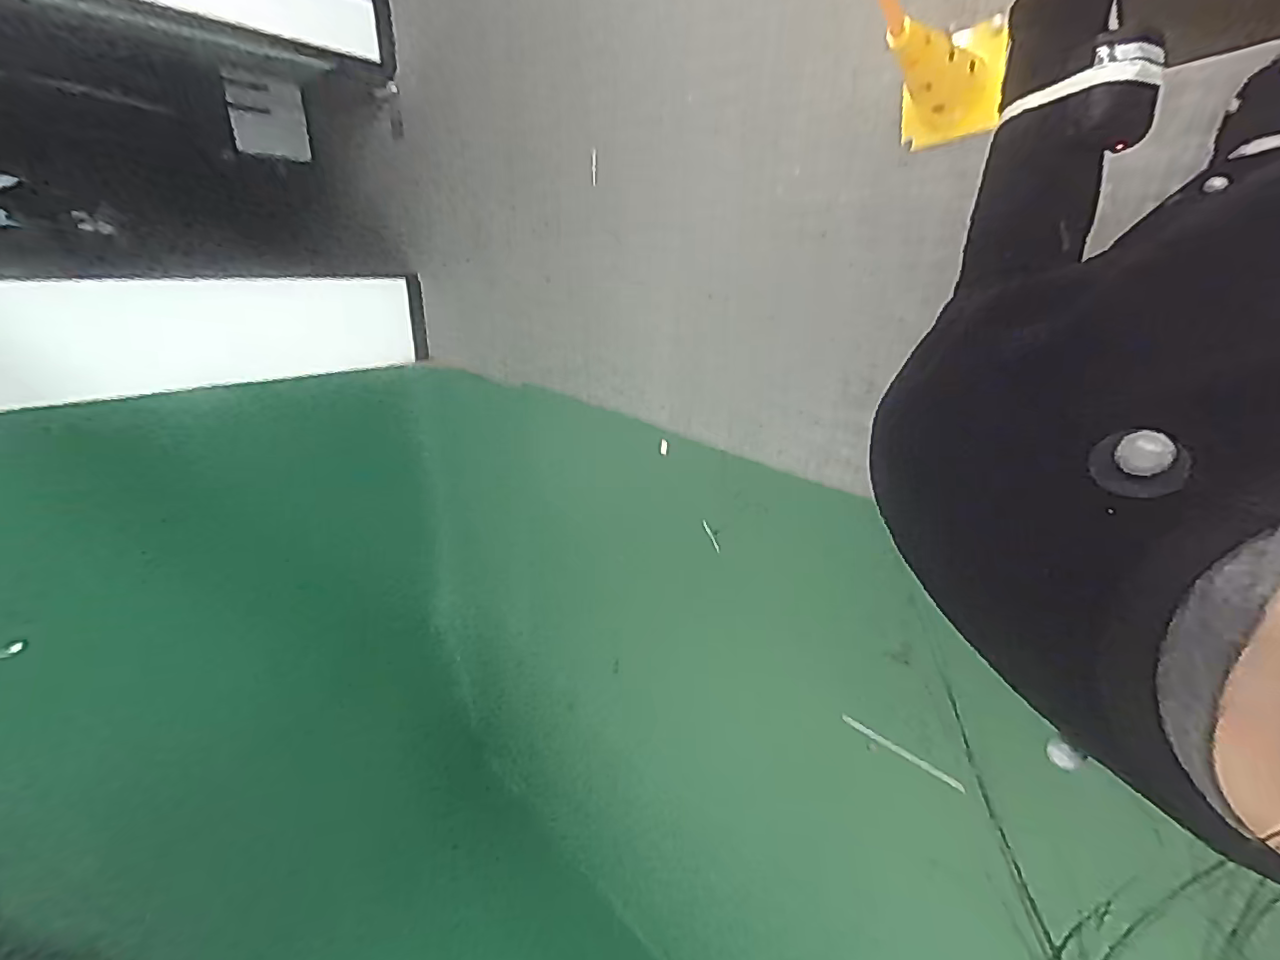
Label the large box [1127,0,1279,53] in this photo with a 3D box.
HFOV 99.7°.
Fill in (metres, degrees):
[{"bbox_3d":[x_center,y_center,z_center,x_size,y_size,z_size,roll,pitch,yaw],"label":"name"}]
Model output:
[{"bbox_3d":[0.529,-0.495,0.263,0.408,0.320,0.320,9,113,41],"label":"large box"}]
